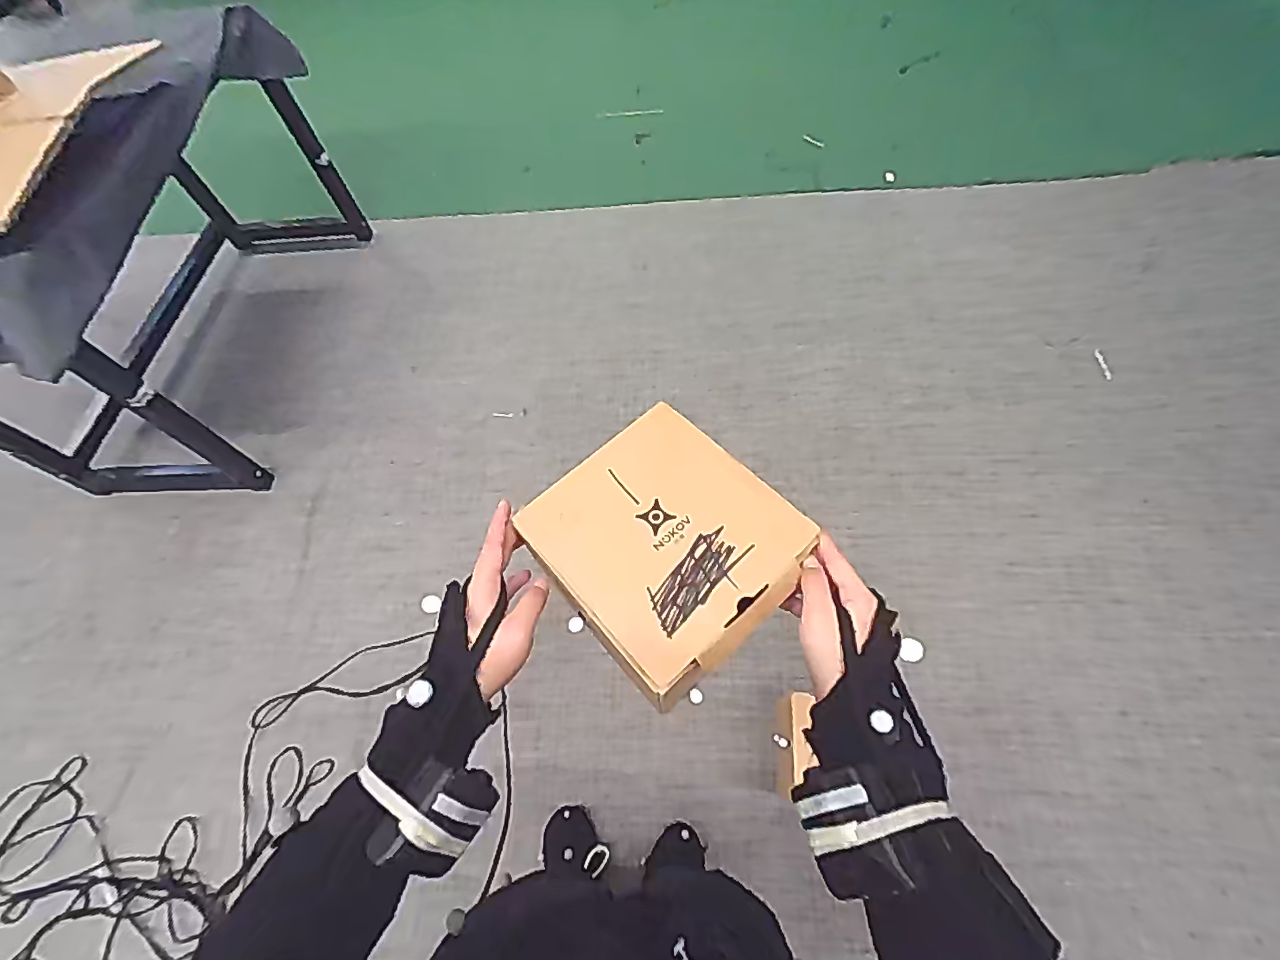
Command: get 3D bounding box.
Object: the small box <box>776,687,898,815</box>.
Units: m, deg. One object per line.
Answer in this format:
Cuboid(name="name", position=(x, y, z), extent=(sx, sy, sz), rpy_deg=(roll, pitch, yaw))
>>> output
Cuboid(name="small box", position=(0.333, 0.472, 0.947), extent=(0.168, 0.176, 0.179), rpy_deg=(2, 61, 7))
